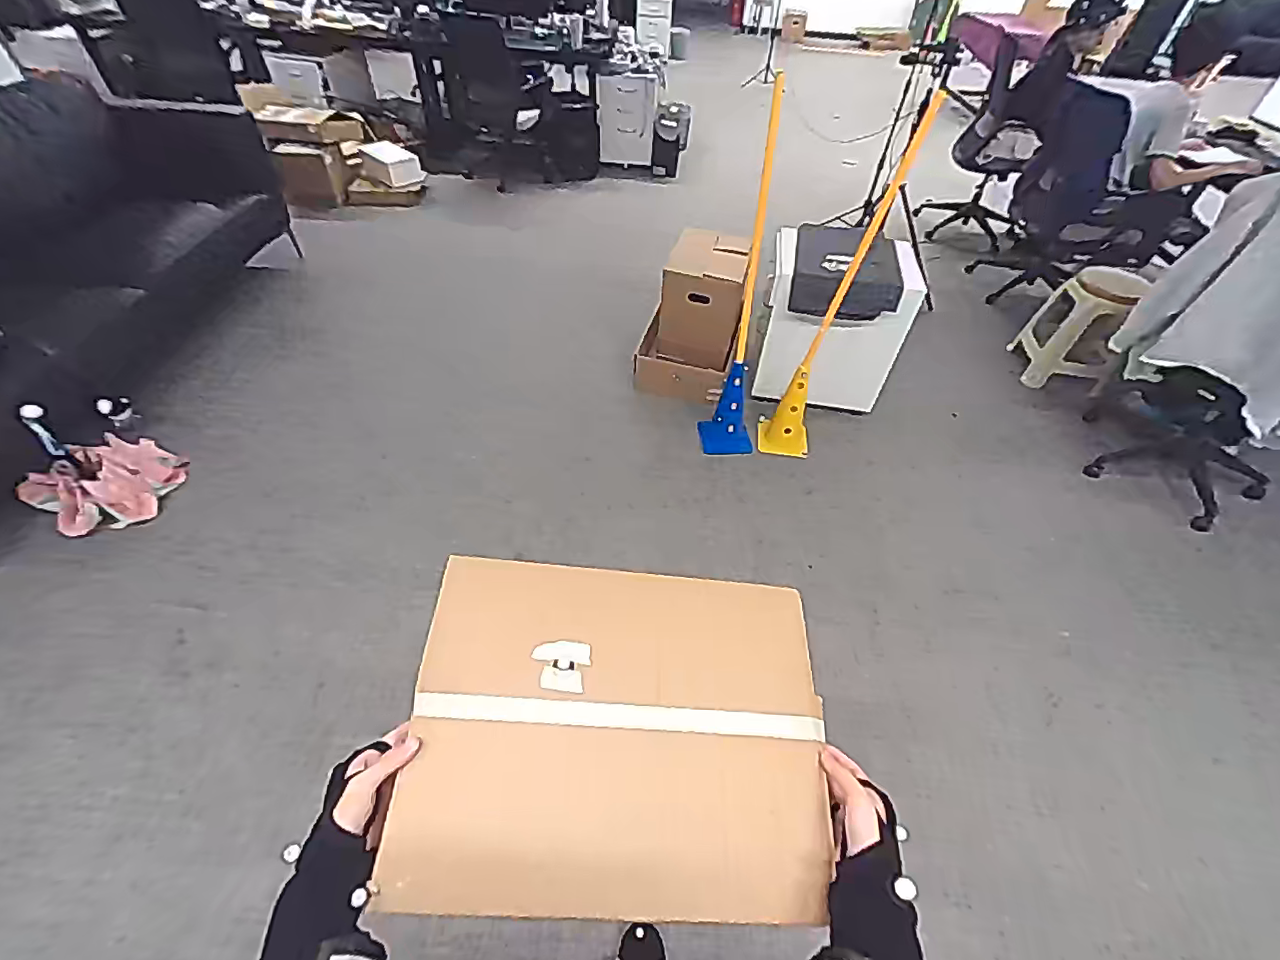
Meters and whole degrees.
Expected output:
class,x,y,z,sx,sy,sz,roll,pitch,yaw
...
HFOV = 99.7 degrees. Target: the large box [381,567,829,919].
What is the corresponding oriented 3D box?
class,x,y,z,sx,sy,sz,roll,pitch,yaw
large box,-0.036,0.322,0.676,0.408,0.320,0.320,6,57,-5
